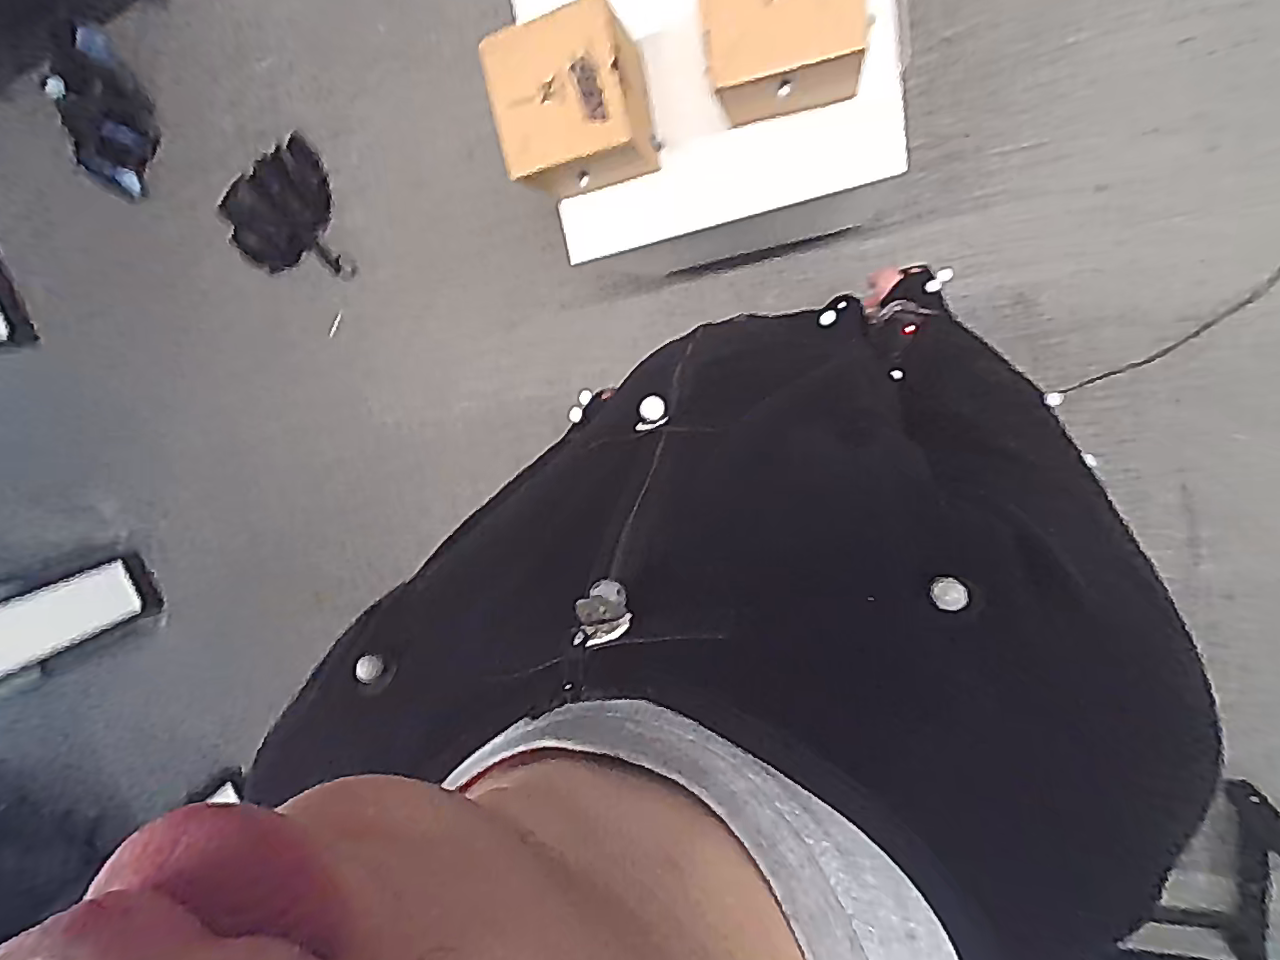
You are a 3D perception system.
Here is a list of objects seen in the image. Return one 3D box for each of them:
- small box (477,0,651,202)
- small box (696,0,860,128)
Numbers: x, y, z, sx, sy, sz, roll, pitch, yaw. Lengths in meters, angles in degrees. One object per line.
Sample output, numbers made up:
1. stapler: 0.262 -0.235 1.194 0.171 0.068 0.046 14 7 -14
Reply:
1. small box: -0.092 -0.511 0.758 0.179 0.176 0.168 -6 105 19
2. small box: 0.169 -0.561 0.663 0.179 0.176 0.168 -3 108 18
